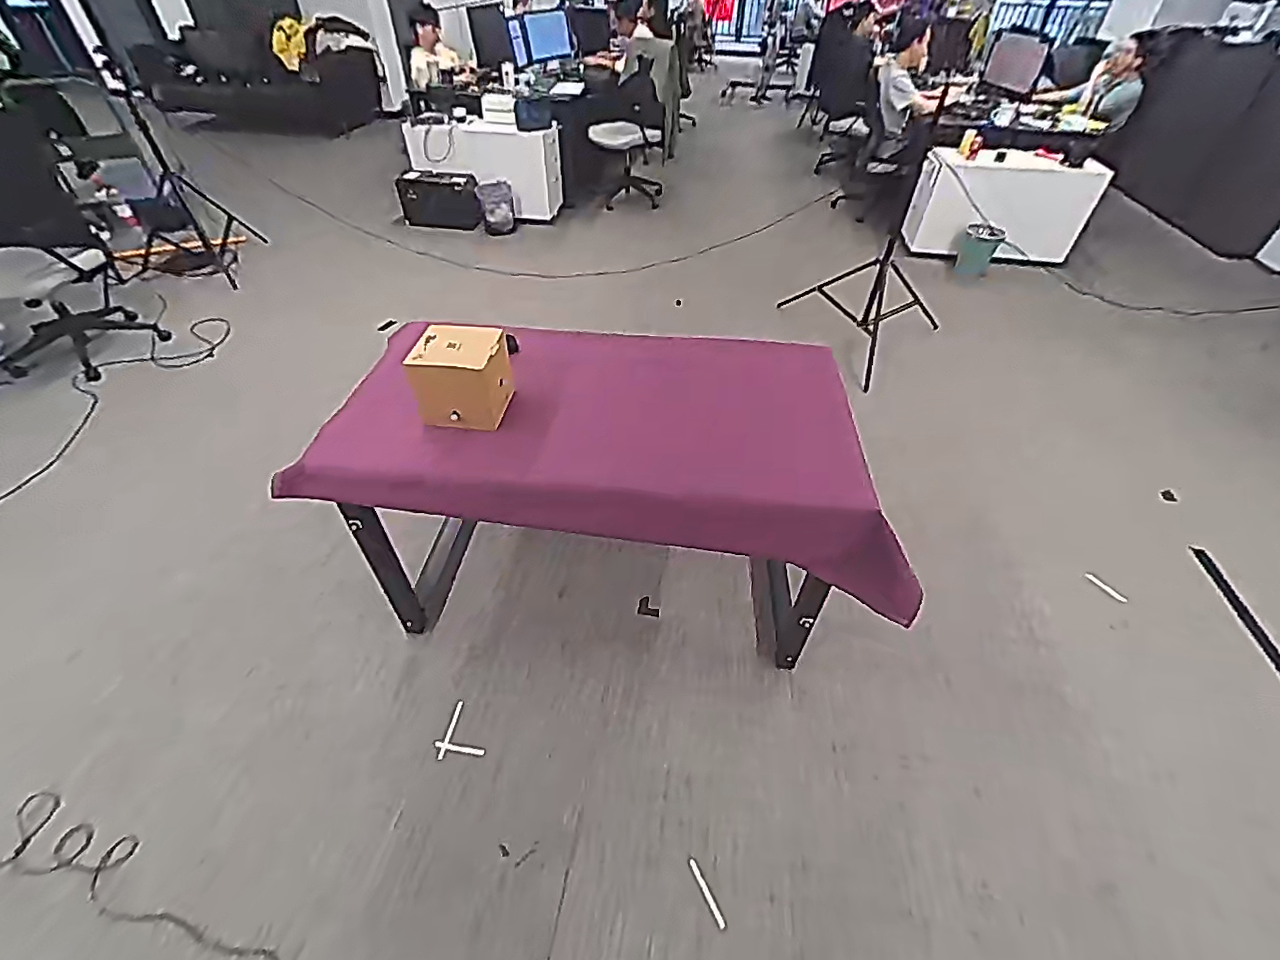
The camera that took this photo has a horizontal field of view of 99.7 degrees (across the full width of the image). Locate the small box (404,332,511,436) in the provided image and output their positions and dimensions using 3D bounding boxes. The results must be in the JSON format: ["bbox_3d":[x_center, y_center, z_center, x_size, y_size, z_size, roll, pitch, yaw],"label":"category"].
[{"bbox_3d":[-0.405,-0.219,1.240,0.179,0.176,0.168,5,44,3],"label":"small box"}]
